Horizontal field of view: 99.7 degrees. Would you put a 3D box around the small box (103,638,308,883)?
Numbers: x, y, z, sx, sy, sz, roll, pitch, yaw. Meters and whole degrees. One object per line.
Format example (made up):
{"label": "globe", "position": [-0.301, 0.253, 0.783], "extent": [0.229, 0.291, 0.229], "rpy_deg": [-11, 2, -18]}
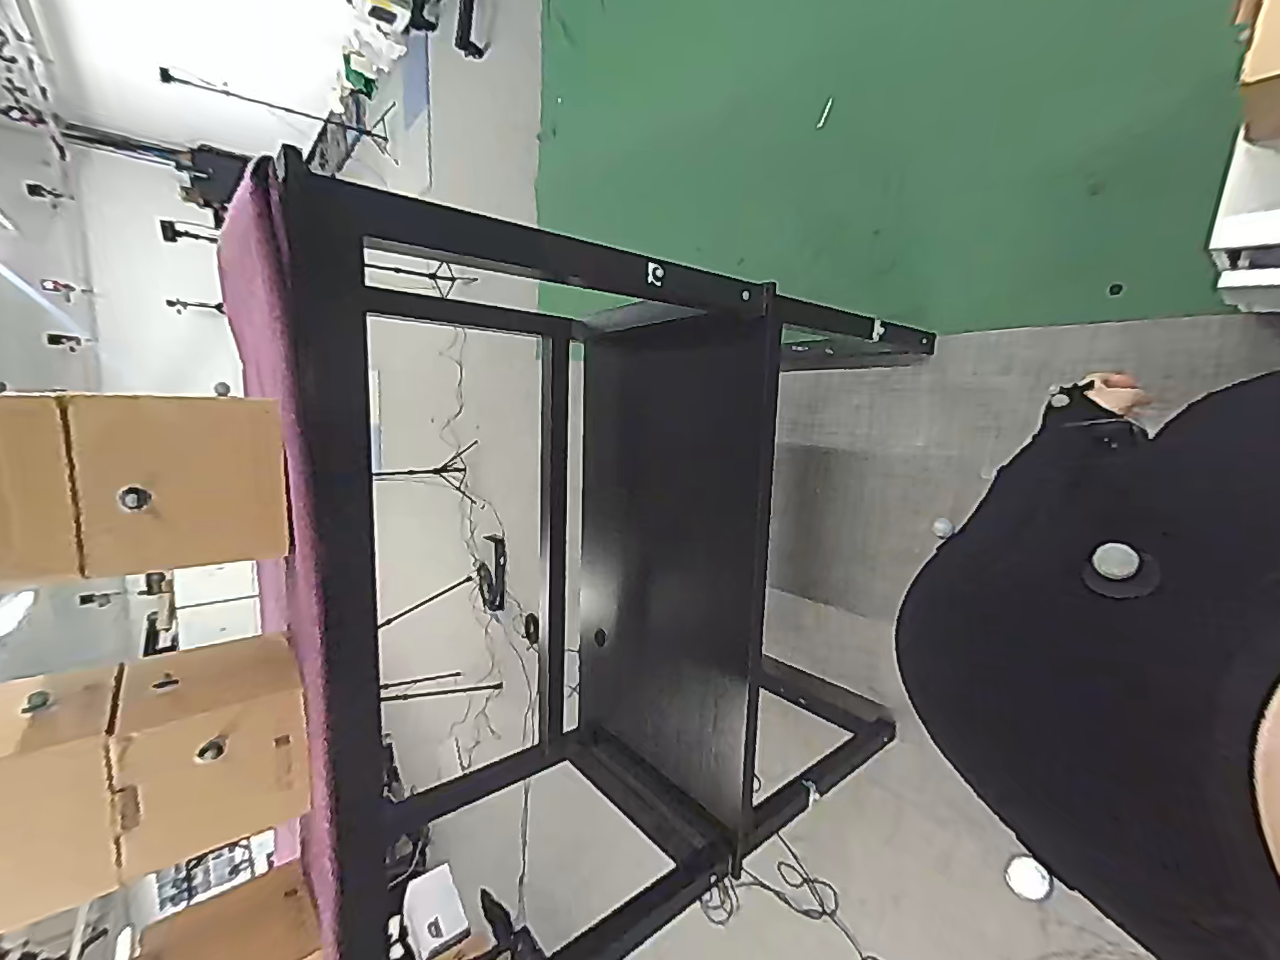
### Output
{"label": "small box", "position": [-0.499, 0.305, 0.638], "extent": [0.179, 0.176, 0.168], "rpy_deg": [13, 103, 50]}

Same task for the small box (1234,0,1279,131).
{"label": "small box", "position": [0.683, -0.447, 0.483], "extent": [0.179, 0.176, 0.168], "rpy_deg": [15, 106, 49]}

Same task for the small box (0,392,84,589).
{"label": "small box", "position": [-0.632, 0.006, 0.507], "extent": [0.168, 0.176, 0.179], "rpy_deg": [11, 102, 52]}

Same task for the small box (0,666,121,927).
{"label": "small box", "position": [-0.627, 0.315, 0.534], "extent": [0.168, 0.176, 0.179], "rpy_deg": [13, 103, 48]}

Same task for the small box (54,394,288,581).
{"label": "small box", "position": [-0.500, -0.006, 0.602], "extent": [0.168, 0.176, 0.179], "rpy_deg": [11, 102, 52]}
